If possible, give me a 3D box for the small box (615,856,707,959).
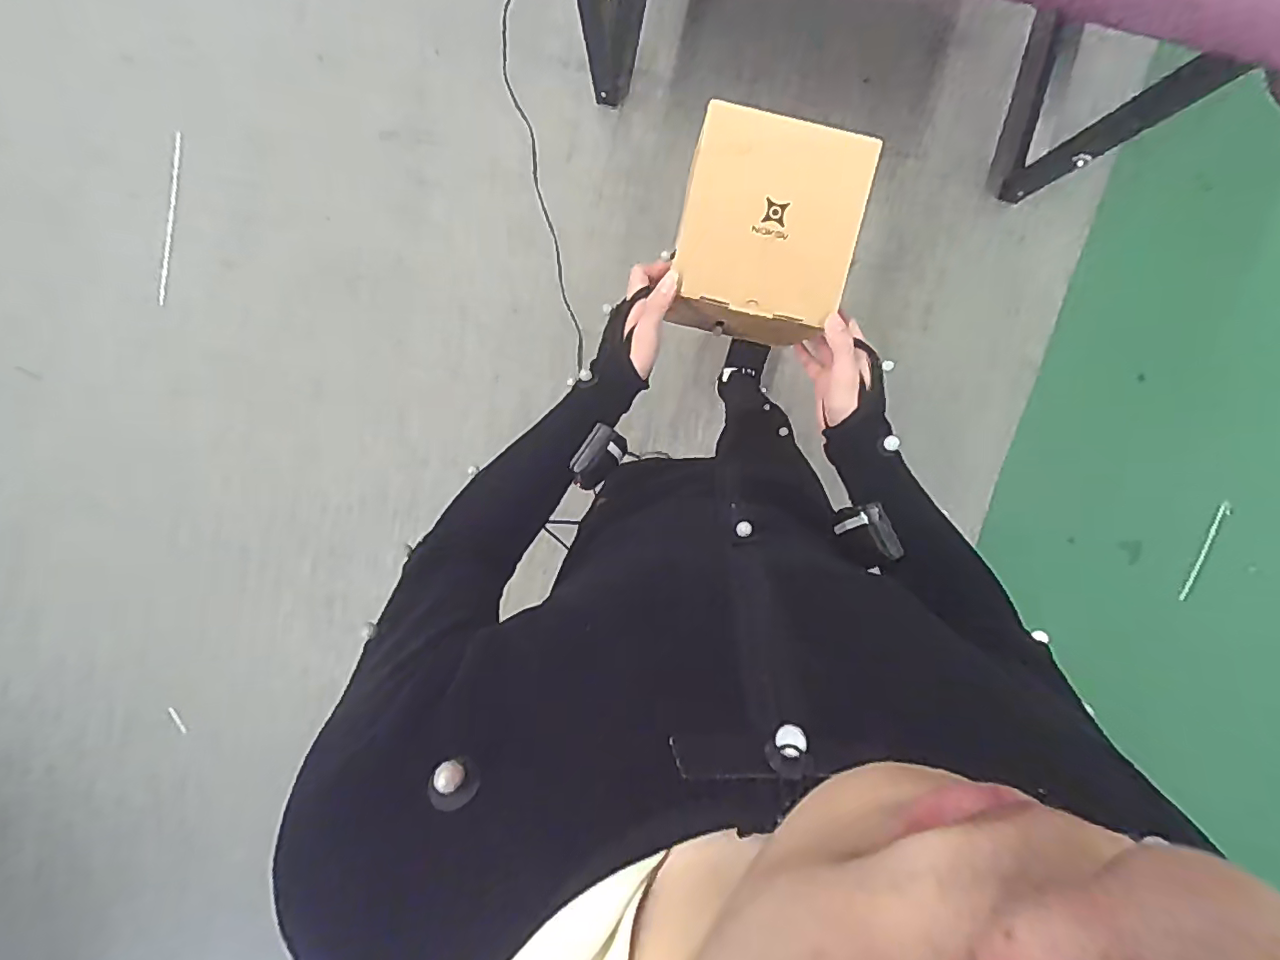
[{"bbox_3d":[0.046,1.035,1.258,0.168,0.176,0.179,17,98,-1],"label":"small box"}]

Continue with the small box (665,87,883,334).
[{"bbox_3d":[0.125,-0.268,0.583,0.168,0.176,0.179,12,99,-3],"label":"small box"}]

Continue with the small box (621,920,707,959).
[{"bbox_3d":[0.043,1.058,1.096,0.168,0.176,0.179,19,98,-3],"label":"small box"}]
